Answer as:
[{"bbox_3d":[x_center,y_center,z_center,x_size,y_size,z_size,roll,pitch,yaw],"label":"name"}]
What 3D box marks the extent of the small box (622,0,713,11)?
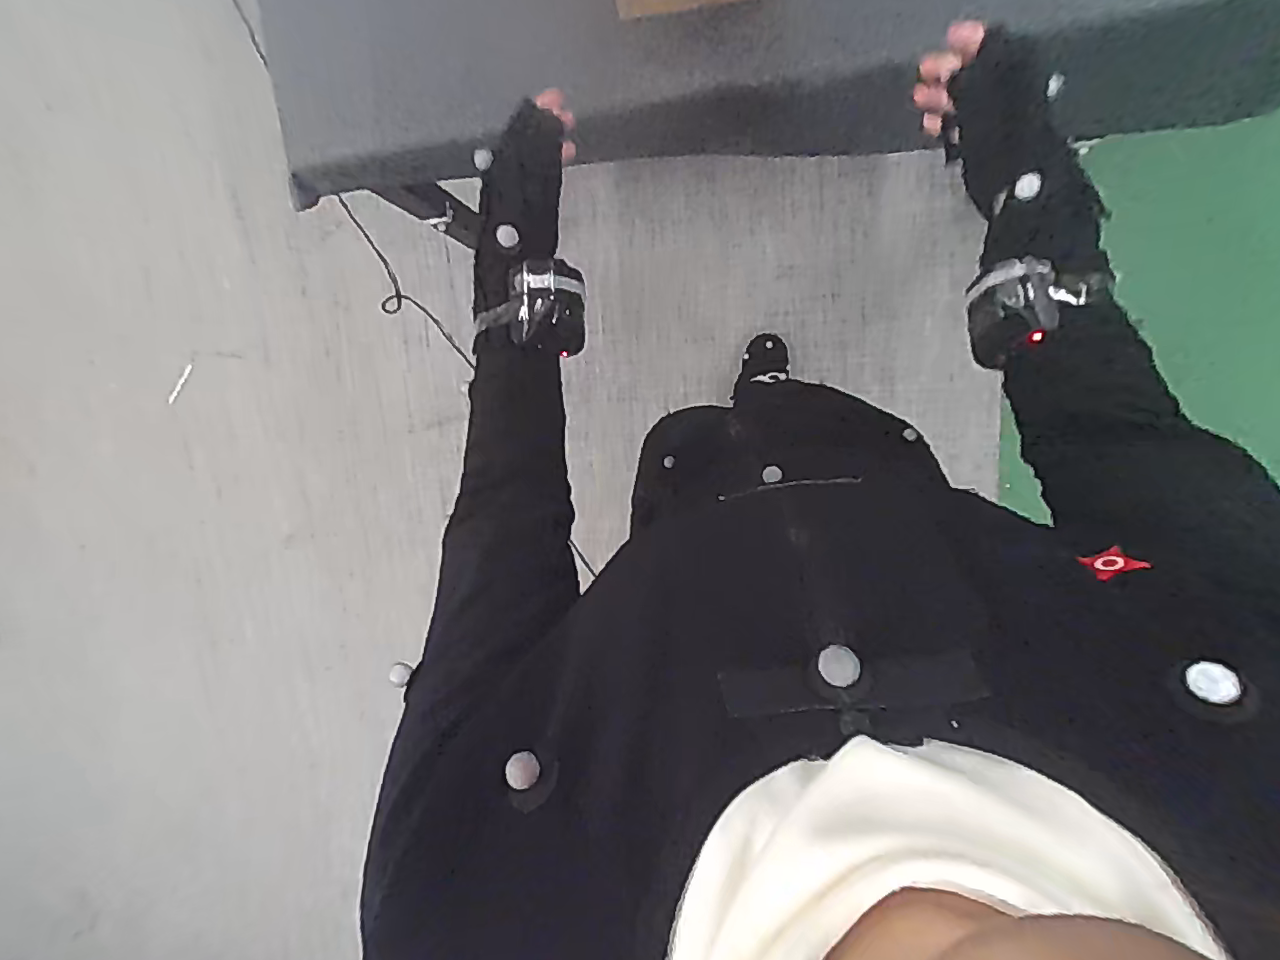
[{"bbox_3d":[0.050,-0.601,0.514,0.179,0.176,0.168,-2,98,9],"label":"small box"}]
